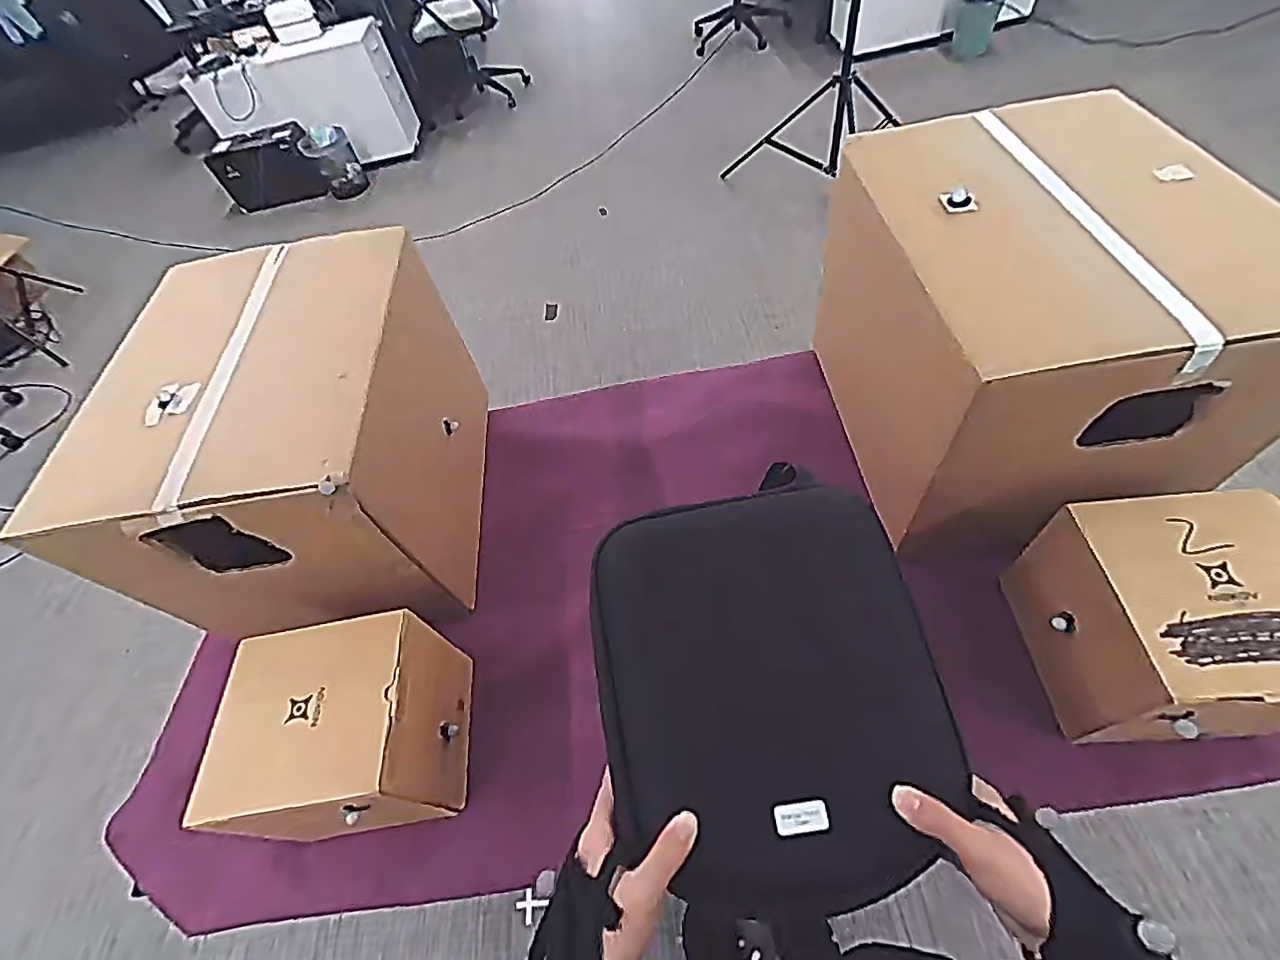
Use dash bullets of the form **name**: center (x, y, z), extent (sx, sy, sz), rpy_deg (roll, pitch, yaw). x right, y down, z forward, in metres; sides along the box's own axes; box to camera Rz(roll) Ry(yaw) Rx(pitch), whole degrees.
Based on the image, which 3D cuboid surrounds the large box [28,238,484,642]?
- **large box**: center (-0.404, -0.042, 0.706), extent (0.320, 0.320, 0.408), rpy_deg (-10, 56, 2)

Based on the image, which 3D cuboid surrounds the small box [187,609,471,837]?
- **small box**: center (-0.297, 0.258, 0.564), extent (0.179, 0.176, 0.168), rpy_deg (-11, 52, 1)
